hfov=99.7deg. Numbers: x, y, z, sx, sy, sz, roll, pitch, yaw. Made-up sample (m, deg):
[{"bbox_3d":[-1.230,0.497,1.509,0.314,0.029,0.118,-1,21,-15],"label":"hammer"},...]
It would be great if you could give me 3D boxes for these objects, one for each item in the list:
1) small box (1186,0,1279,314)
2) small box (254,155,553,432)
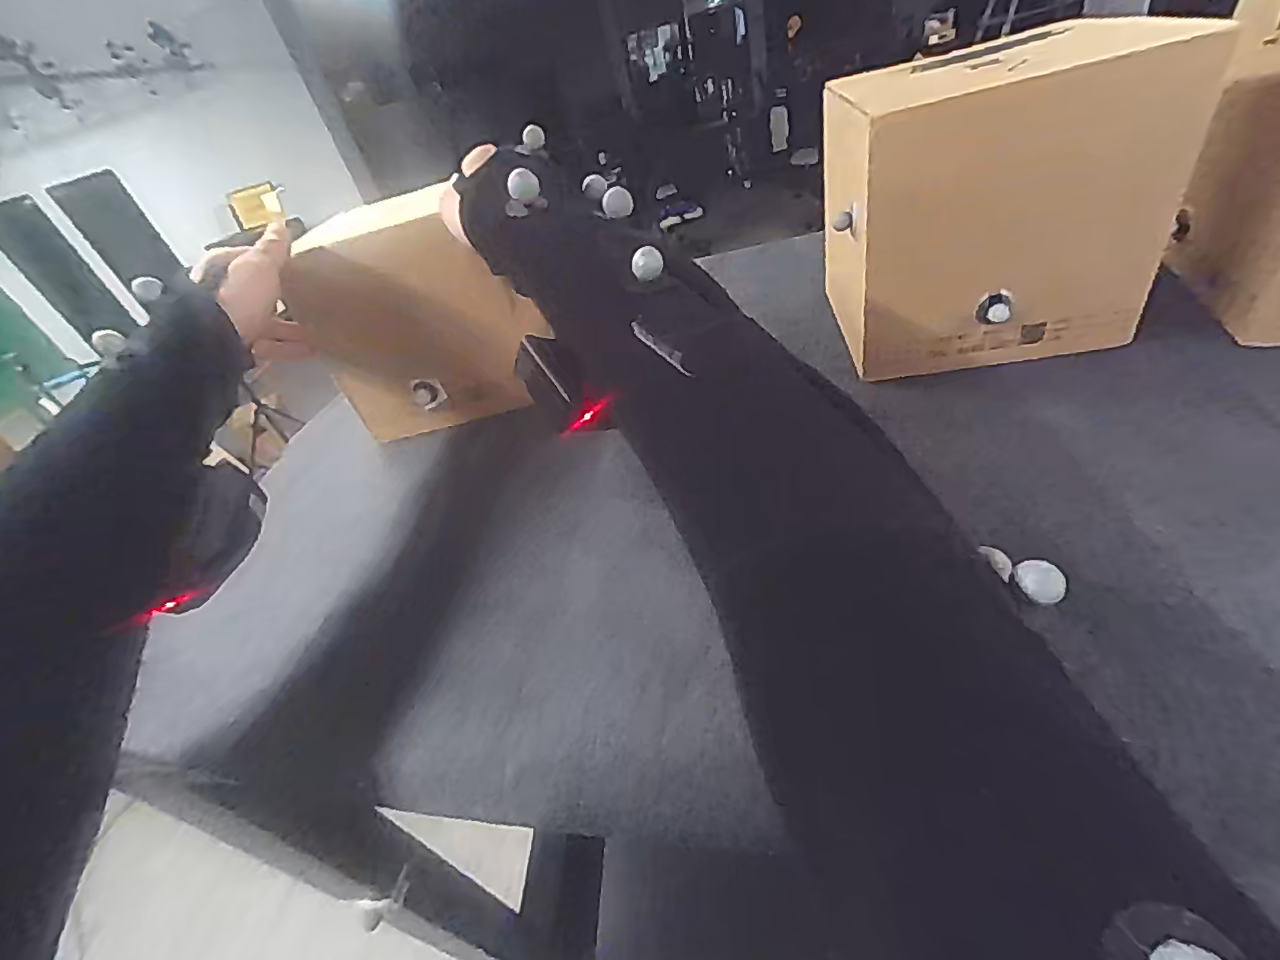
[{"bbox_3d":[0.443,-0.197,0.285,0.179,0.176,0.168,3,42,23],"label":"small box"},{"bbox_3d":[-0.184,-0.169,0.488,0.168,0.176,0.179,-14,38,4],"label":"small box"}]
